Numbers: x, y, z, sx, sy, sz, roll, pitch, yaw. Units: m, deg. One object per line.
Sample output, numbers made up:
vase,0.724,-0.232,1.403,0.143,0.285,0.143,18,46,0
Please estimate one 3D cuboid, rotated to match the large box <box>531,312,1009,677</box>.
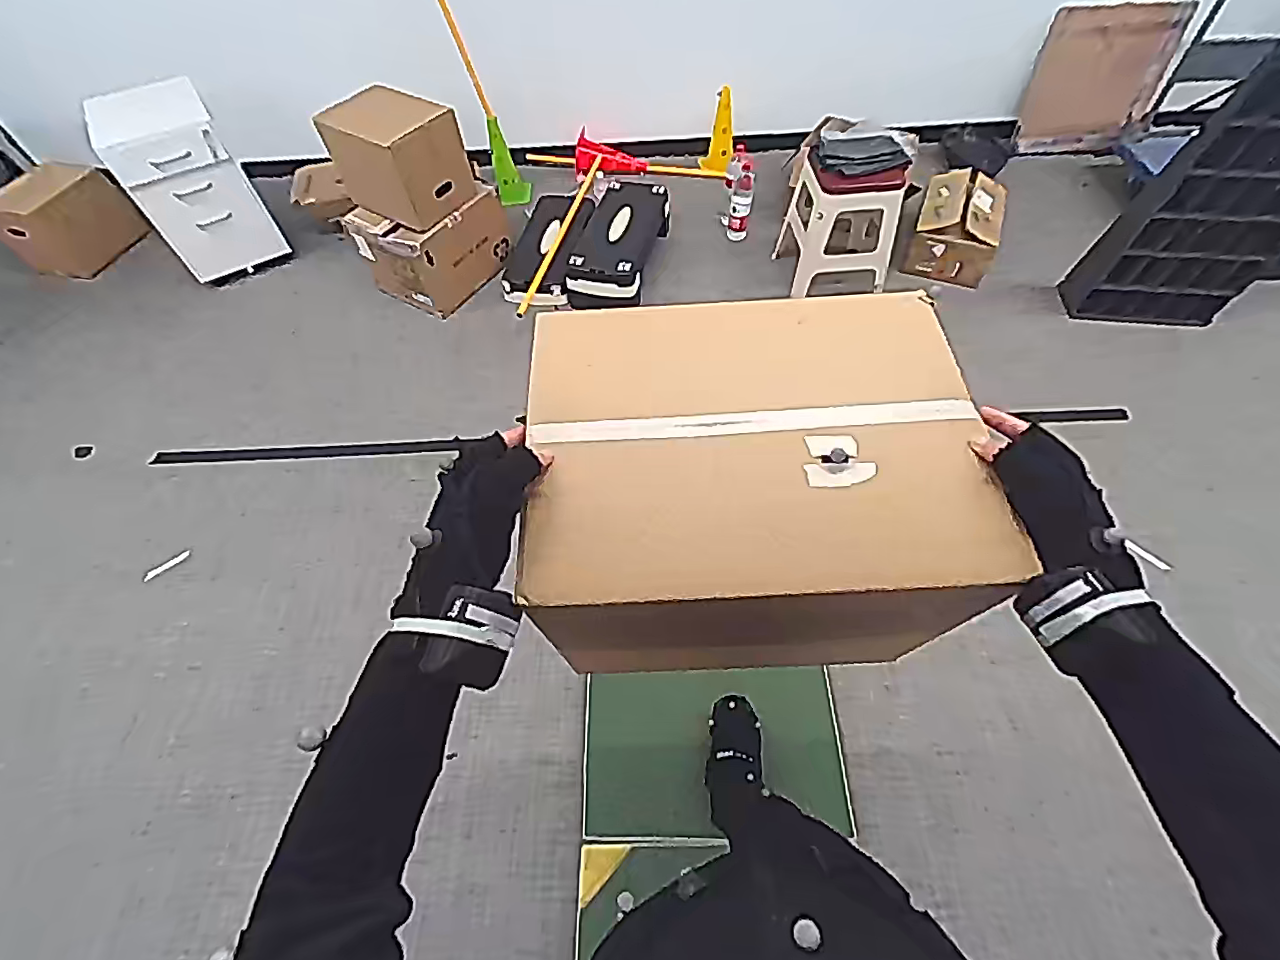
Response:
large box,0.101,0.035,0.643,0.408,0.320,0.320,-3,61,0
